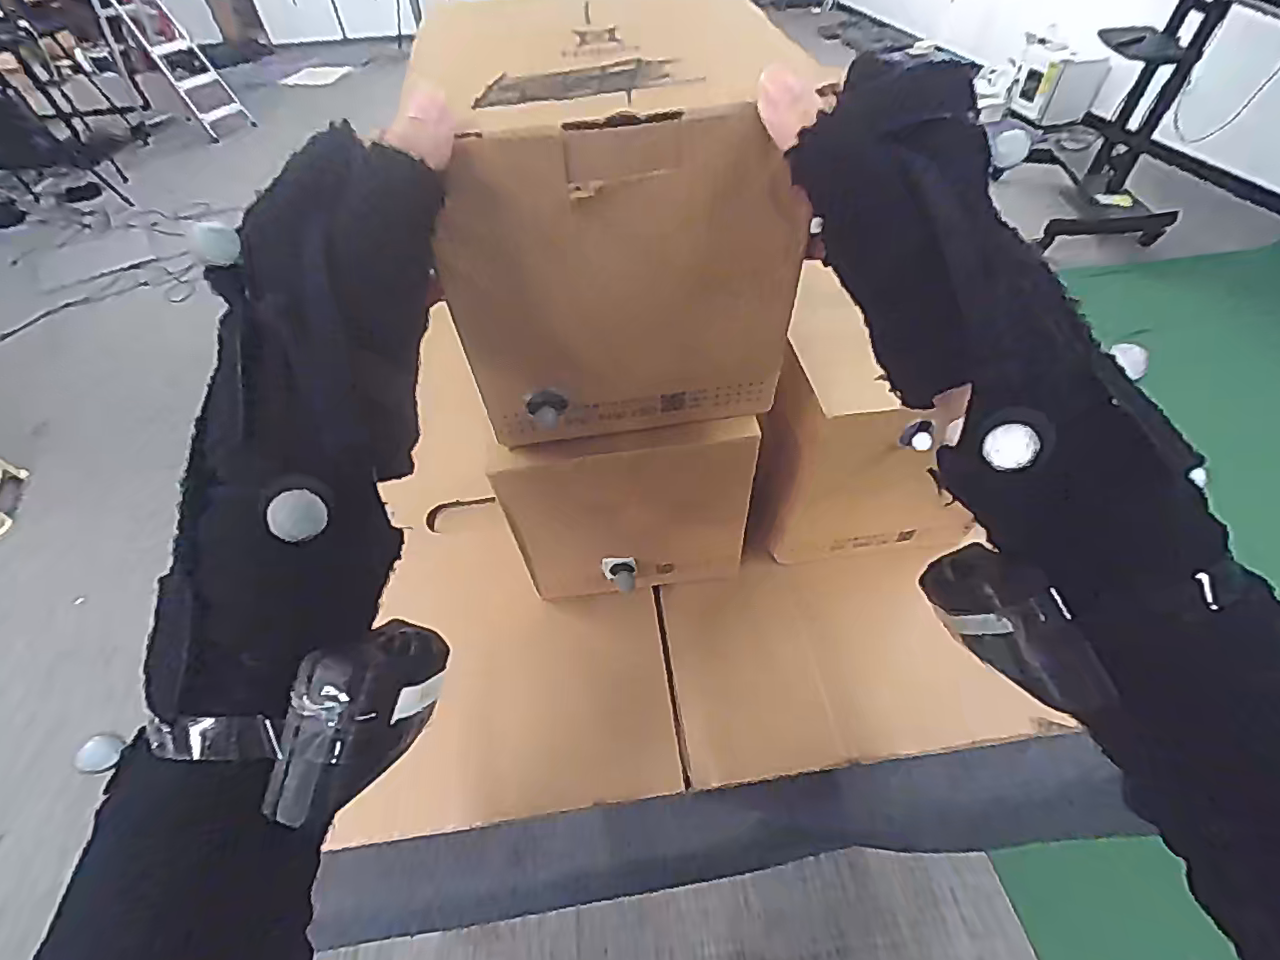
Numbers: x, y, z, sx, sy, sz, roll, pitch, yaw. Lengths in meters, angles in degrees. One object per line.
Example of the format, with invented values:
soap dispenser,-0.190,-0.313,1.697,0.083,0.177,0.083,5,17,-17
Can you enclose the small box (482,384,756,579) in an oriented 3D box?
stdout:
small box,-0.018,-0.045,0.431,0.168,0.176,0.179,-9,52,-3

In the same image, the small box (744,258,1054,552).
small box,0.175,-0.063,0.453,0.168,0.176,0.179,-6,49,-4

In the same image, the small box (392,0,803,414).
small box,-0.022,-0.152,0.320,0.168,0.176,0.179,-8,52,-3
